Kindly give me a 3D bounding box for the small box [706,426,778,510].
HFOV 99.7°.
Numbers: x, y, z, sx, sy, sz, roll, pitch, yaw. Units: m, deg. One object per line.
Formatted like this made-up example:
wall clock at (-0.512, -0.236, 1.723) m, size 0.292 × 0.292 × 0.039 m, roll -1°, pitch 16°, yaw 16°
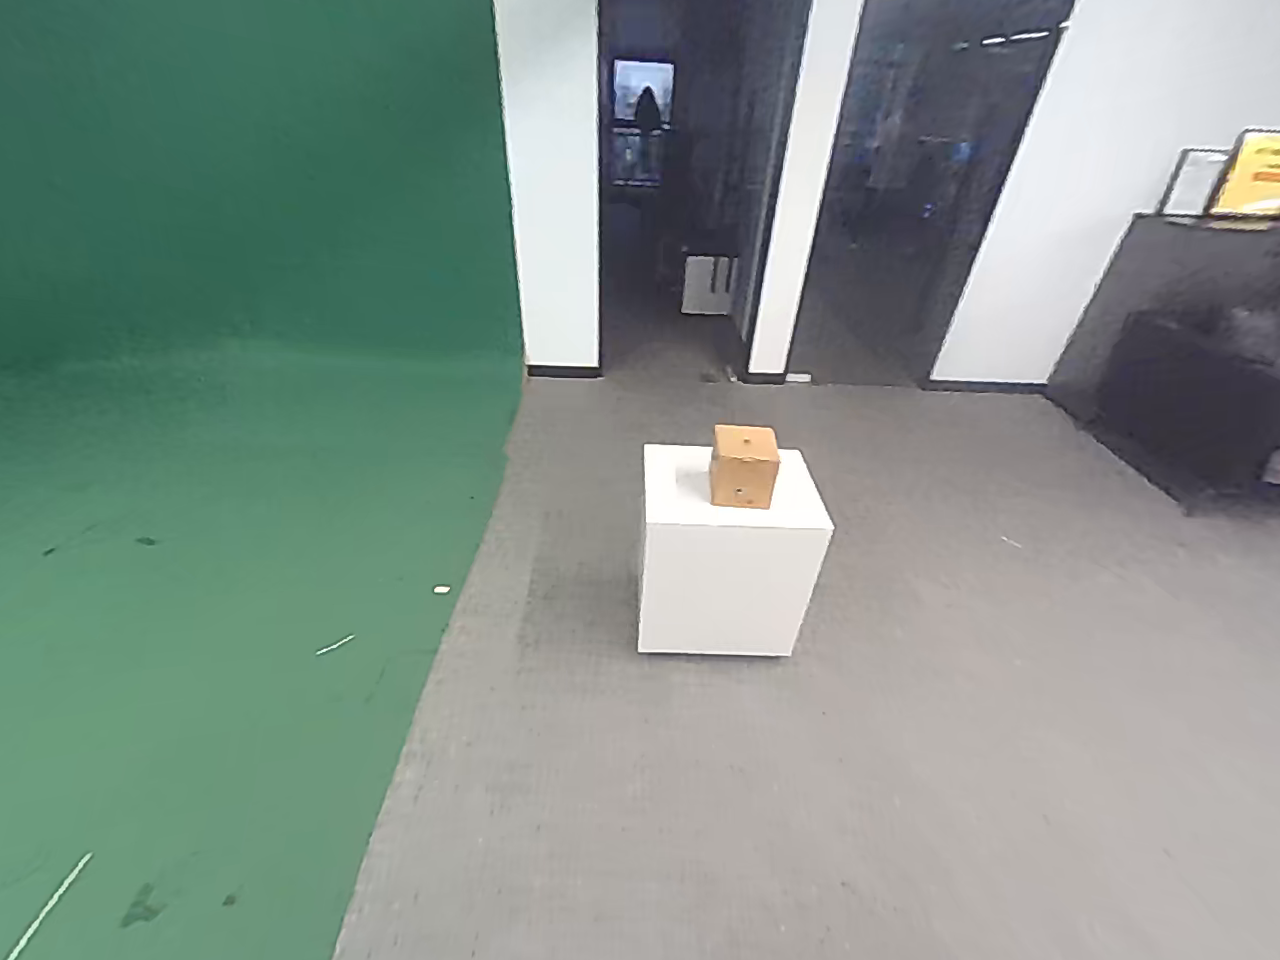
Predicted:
small box at (0.280, -0.035, 1.531) m, size 0.168 × 0.176 × 0.179 m, roll 3°, pitch 34°, yaw 0°
